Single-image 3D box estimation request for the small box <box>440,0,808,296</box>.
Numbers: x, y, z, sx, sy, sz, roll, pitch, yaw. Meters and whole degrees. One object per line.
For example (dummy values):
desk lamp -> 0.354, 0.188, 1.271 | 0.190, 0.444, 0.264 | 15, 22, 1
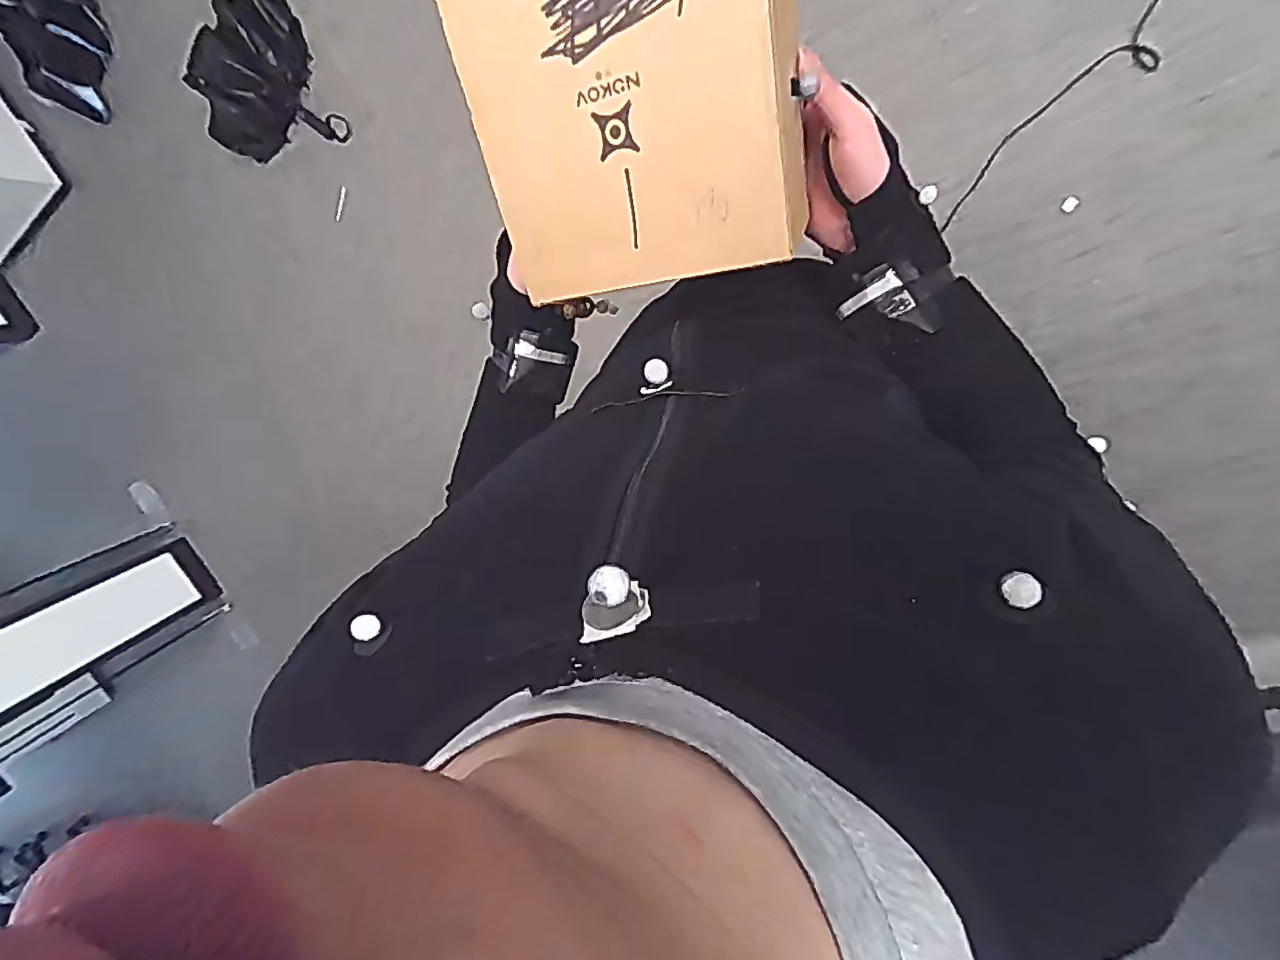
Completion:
small box -> 0.012, -0.233, 0.338 | 0.168, 0.176, 0.179 | -1, 122, 23
